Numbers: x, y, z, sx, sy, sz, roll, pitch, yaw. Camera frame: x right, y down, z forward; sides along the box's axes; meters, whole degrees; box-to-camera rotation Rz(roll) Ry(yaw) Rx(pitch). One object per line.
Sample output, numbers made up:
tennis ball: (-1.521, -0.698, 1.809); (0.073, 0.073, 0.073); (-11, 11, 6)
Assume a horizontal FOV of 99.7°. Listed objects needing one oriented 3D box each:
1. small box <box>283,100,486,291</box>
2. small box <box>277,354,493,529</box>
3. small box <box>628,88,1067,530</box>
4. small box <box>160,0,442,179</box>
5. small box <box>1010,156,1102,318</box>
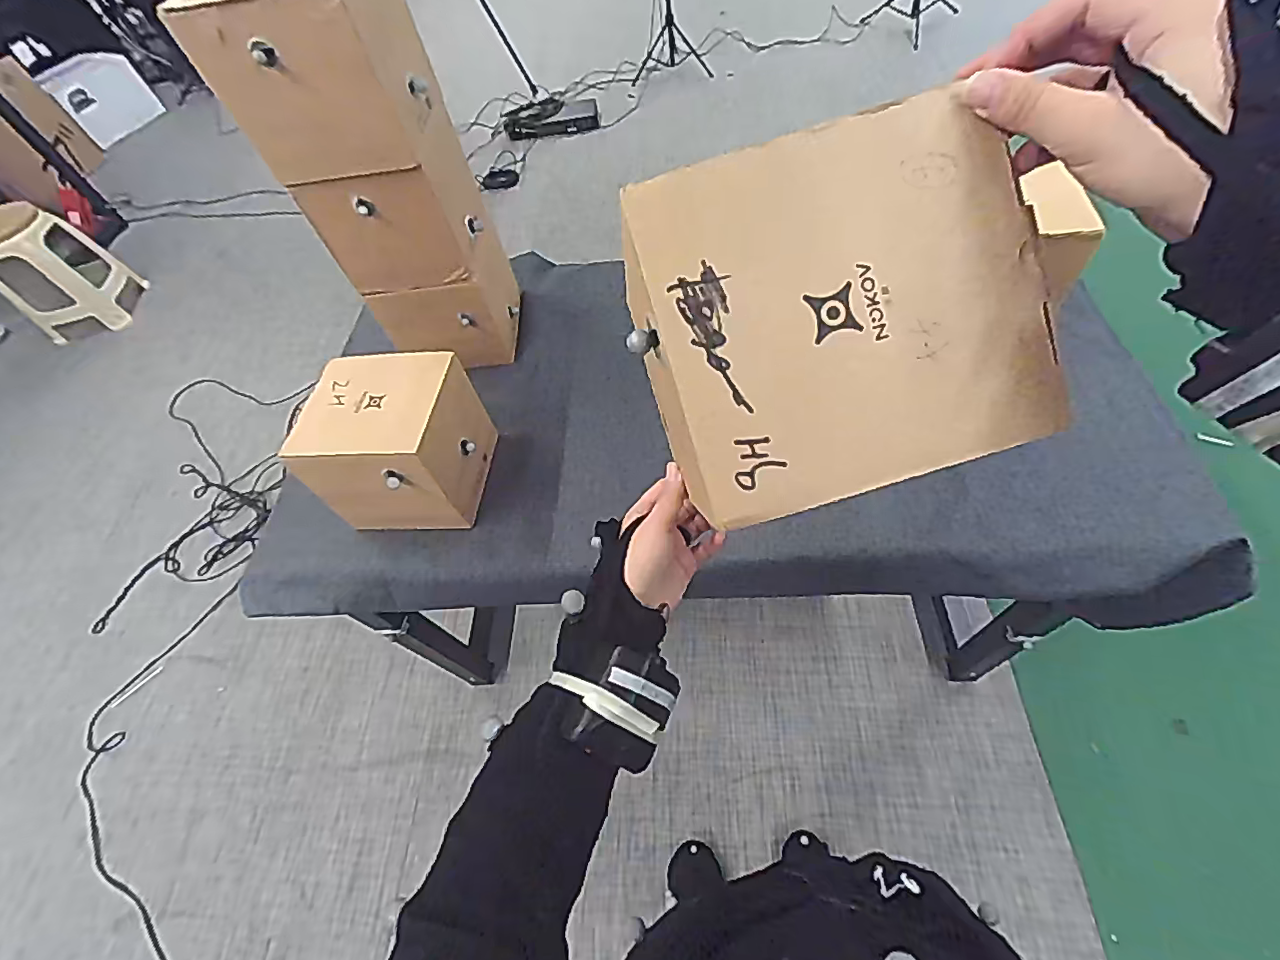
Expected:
small box: (-0.331, -0.381, 0.742); (0.179, 0.176, 0.168); (-5, 59, 4)
small box: (-0.314, -0.045, 0.713); (0.179, 0.176, 0.168); (-1, 55, 8)
small box: (0.095, -0.081, 0.327); (0.179, 0.176, 0.168); (-16, 93, 1)
small box: (-0.349, -0.460, 0.598); (0.179, 0.176, 0.168); (-4, 59, 5)
small box: (0.487, -0.323, 0.767); (0.168, 0.176, 0.179); (-1, 59, 9)
